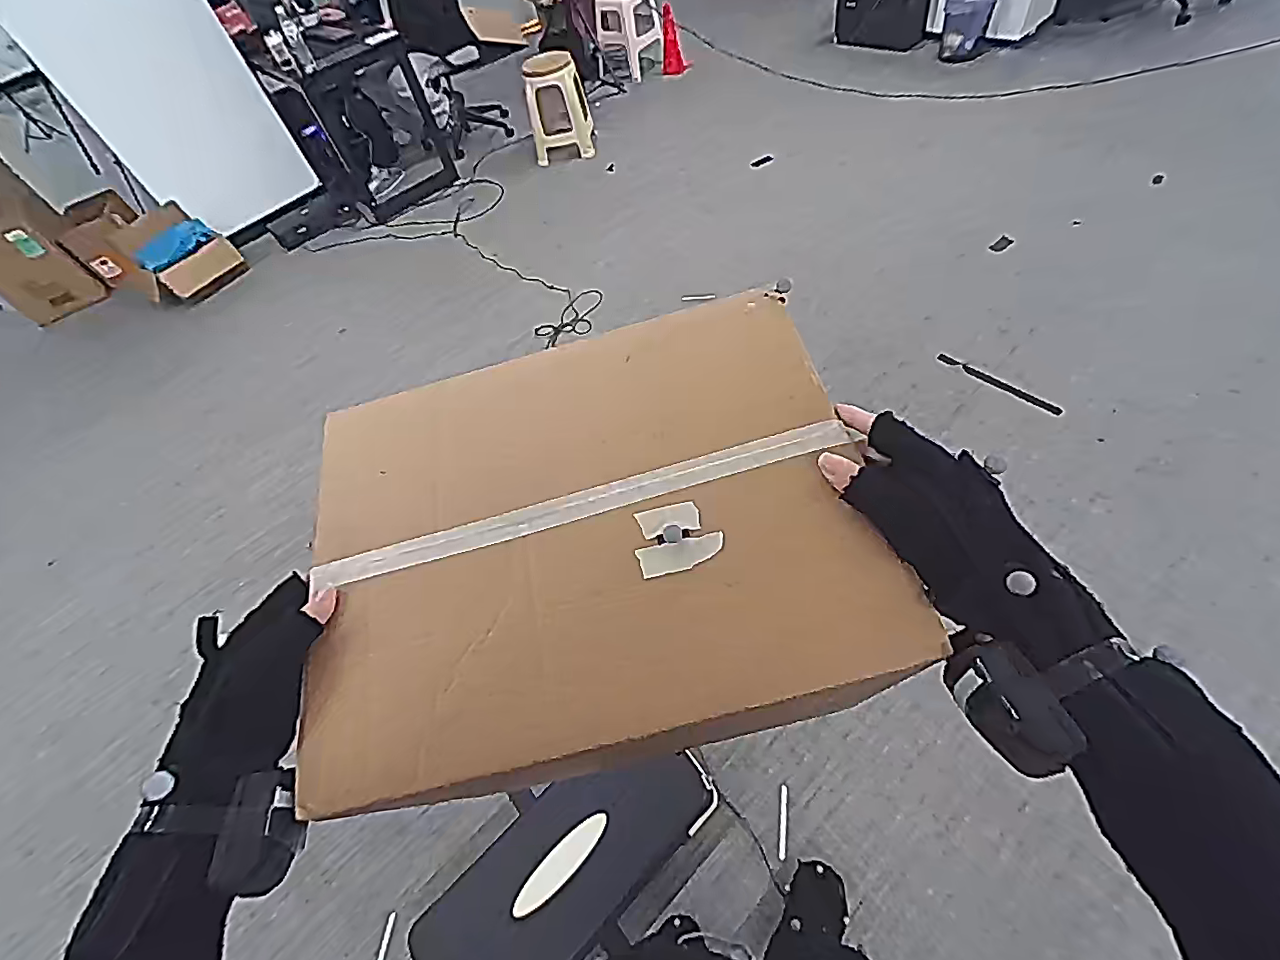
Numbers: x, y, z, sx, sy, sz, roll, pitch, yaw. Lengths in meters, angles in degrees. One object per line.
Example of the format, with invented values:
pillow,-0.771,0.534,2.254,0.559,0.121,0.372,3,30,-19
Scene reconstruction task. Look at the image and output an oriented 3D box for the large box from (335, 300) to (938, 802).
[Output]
large box,-0.015,0.091,0.539,0.408,0.320,0.320,-15,62,2
